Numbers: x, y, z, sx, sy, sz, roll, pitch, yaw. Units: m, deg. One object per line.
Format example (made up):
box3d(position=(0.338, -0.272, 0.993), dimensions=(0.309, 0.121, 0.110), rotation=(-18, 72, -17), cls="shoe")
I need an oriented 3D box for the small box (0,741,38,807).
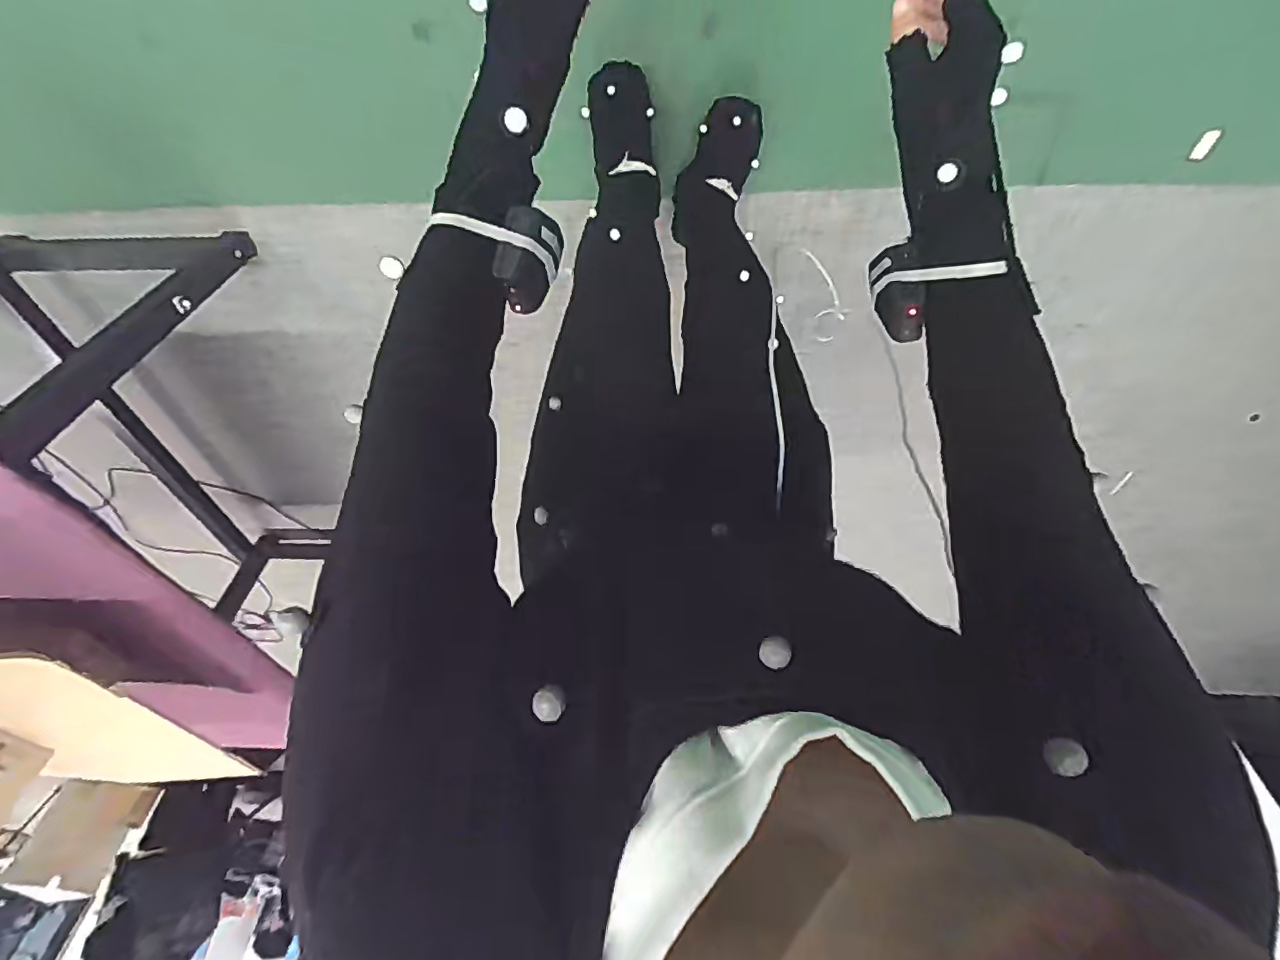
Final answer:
box3d(position=(-1.215, 0.524, 0.911), dimensions=(0.179, 0.176, 0.168), rotation=(3, 138, 1), cls="small box")
